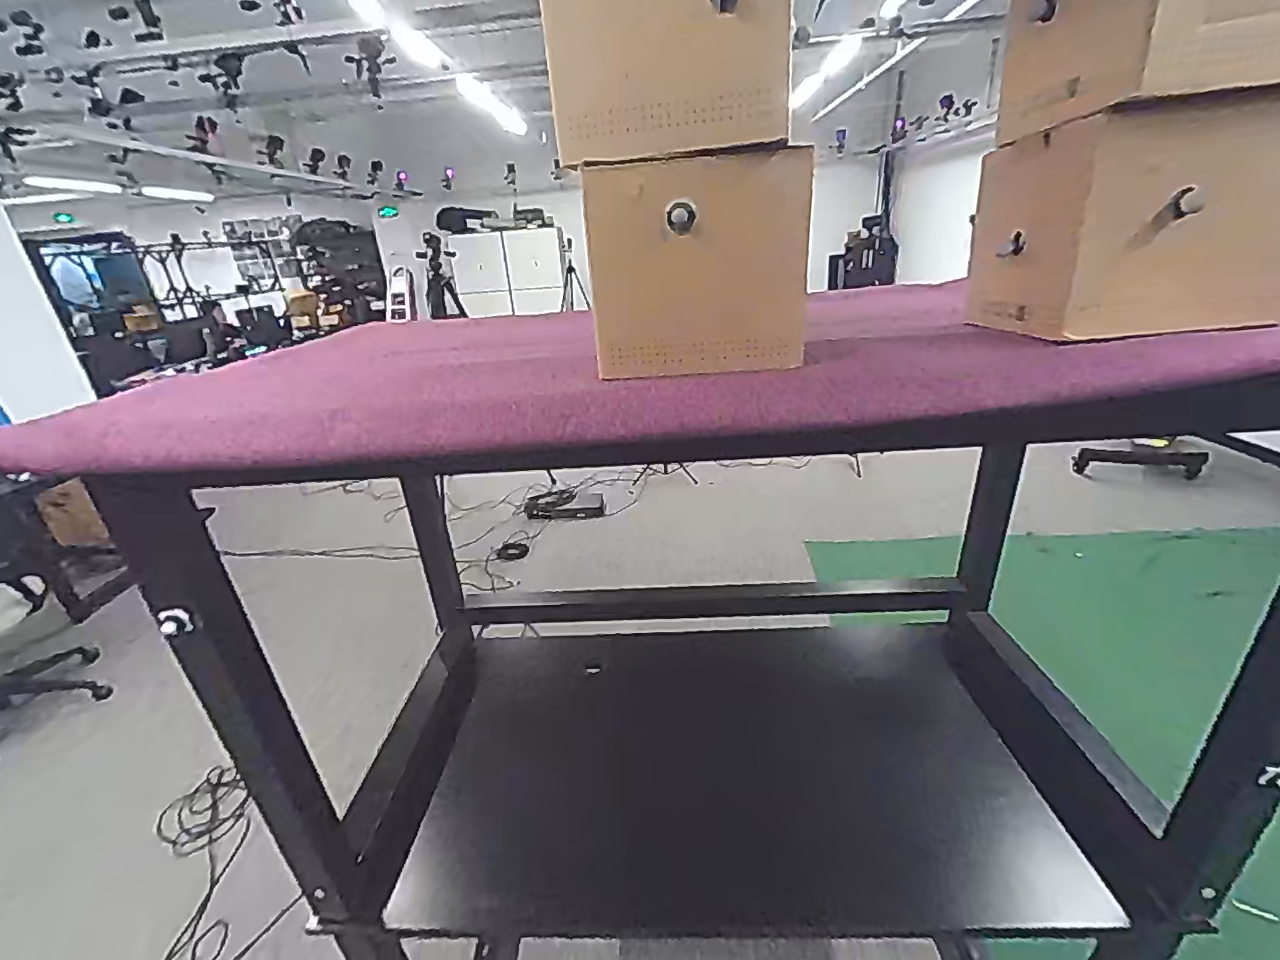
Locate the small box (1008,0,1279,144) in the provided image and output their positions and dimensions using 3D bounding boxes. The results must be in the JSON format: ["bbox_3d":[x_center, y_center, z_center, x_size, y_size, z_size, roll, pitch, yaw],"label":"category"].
[{"bbox_3d":[0.416,-0.368,0.413,0.179,0.176,0.168,-3,22,4],"label":"small box"}]

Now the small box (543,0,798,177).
[{"bbox_3d":[0.036,-0.345,0.436,0.179,0.176,0.168,1,24,14],"label":"small box"}]

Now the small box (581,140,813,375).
[{"bbox_3d":[0.052,-0.198,0.502,0.179,0.176,0.168,-2,25,4],"label":"small box"}]

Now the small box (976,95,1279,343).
[{"bbox_3d":[0.431,-0.222,0.486,0.179,0.176,0.168,-4,22,5],"label":"small box"}]
